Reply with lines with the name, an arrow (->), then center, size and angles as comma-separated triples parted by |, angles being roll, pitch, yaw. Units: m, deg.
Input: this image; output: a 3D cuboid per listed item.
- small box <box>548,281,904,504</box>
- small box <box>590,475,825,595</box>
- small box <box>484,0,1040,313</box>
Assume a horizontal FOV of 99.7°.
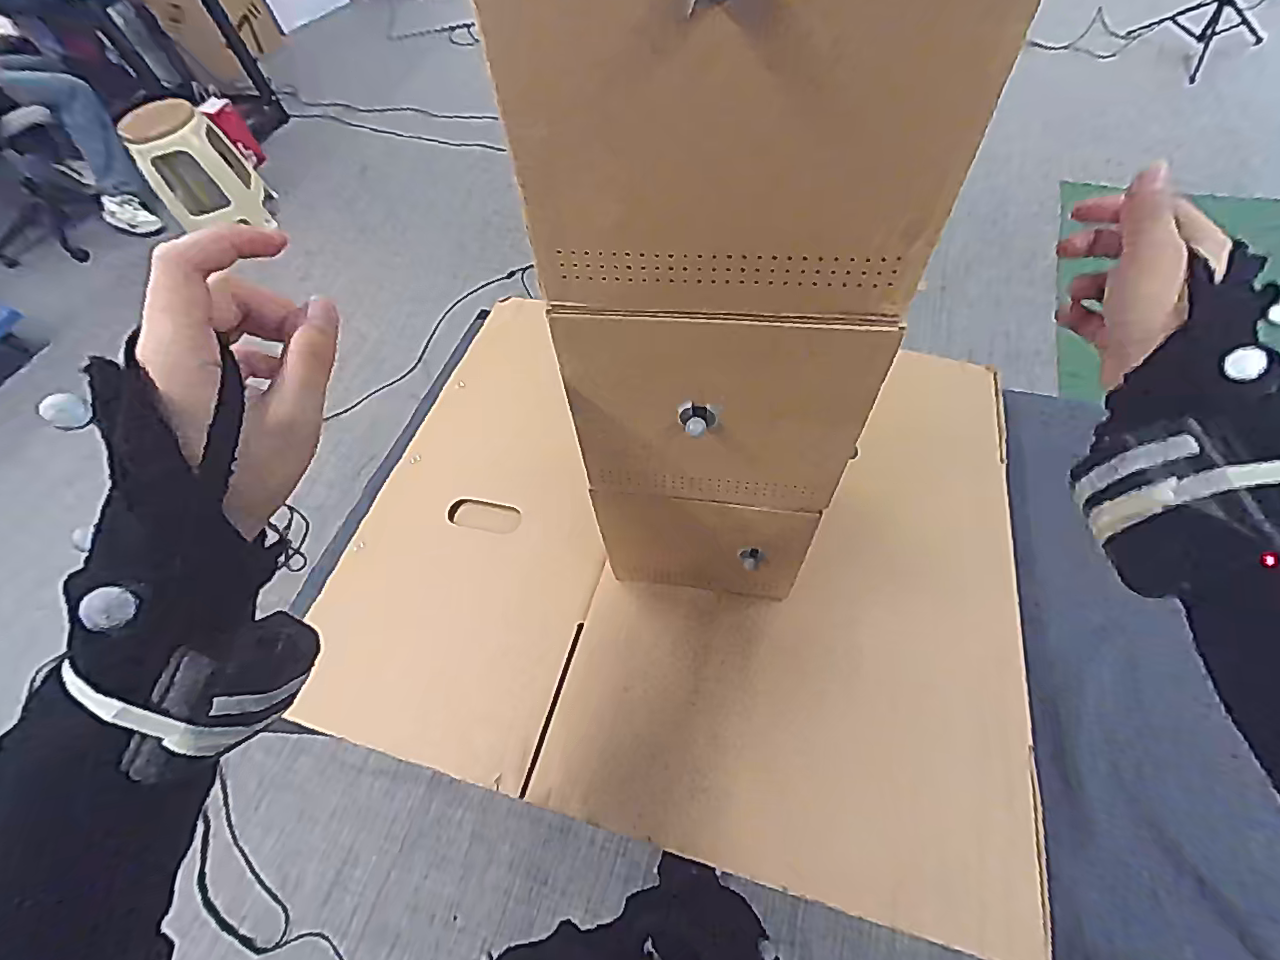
small box -> 0.055, -0.097, 0.371 | 0.179, 0.176, 0.168 | 4, 56, 8
small box -> 0.065, -0.003, 0.507 | 0.179, 0.176, 0.168 | 5, 56, 9
small box -> 0.048, -0.192, 0.240 | 0.179, 0.176, 0.168 | 4, 56, 8
